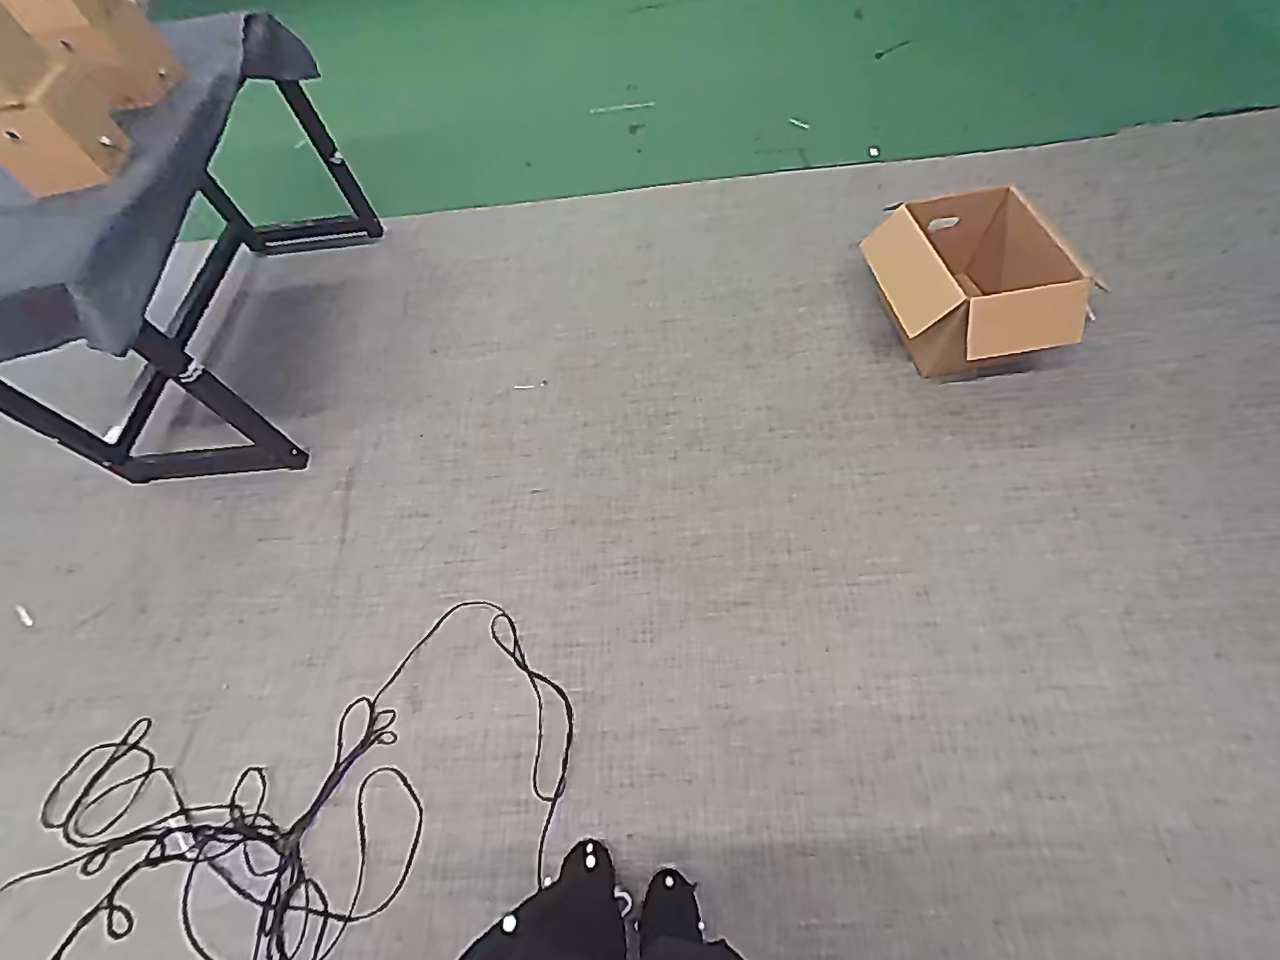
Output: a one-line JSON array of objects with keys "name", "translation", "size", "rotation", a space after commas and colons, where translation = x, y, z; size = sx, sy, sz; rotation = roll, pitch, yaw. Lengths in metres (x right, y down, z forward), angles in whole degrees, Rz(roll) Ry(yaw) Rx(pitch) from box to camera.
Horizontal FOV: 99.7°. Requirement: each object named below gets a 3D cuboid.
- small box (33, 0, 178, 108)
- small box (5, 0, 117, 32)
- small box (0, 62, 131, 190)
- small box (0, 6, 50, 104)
[{"name": "small box", "translation": [-1.319, -1.069, 1.353], "size": [0.168, 0.176, 0.179], "rotation": [-4, 60, 5]}, {"name": "small box", "translation": [-1.339, -1.150, 1.206], "size": [0.168, 0.176, 0.179], "rotation": [-3, 60, 5]}, {"name": "small box", "translation": [-1.279, -0.758, 1.169], "size": [0.179, 0.176, 0.168], "rotation": [-12, 60, -1]}, {"name": "small box", "translation": [-1.311, -0.839, 1.032], "size": [0.168, 0.176, 0.179], "rotation": [-9, 59, 0]}]
